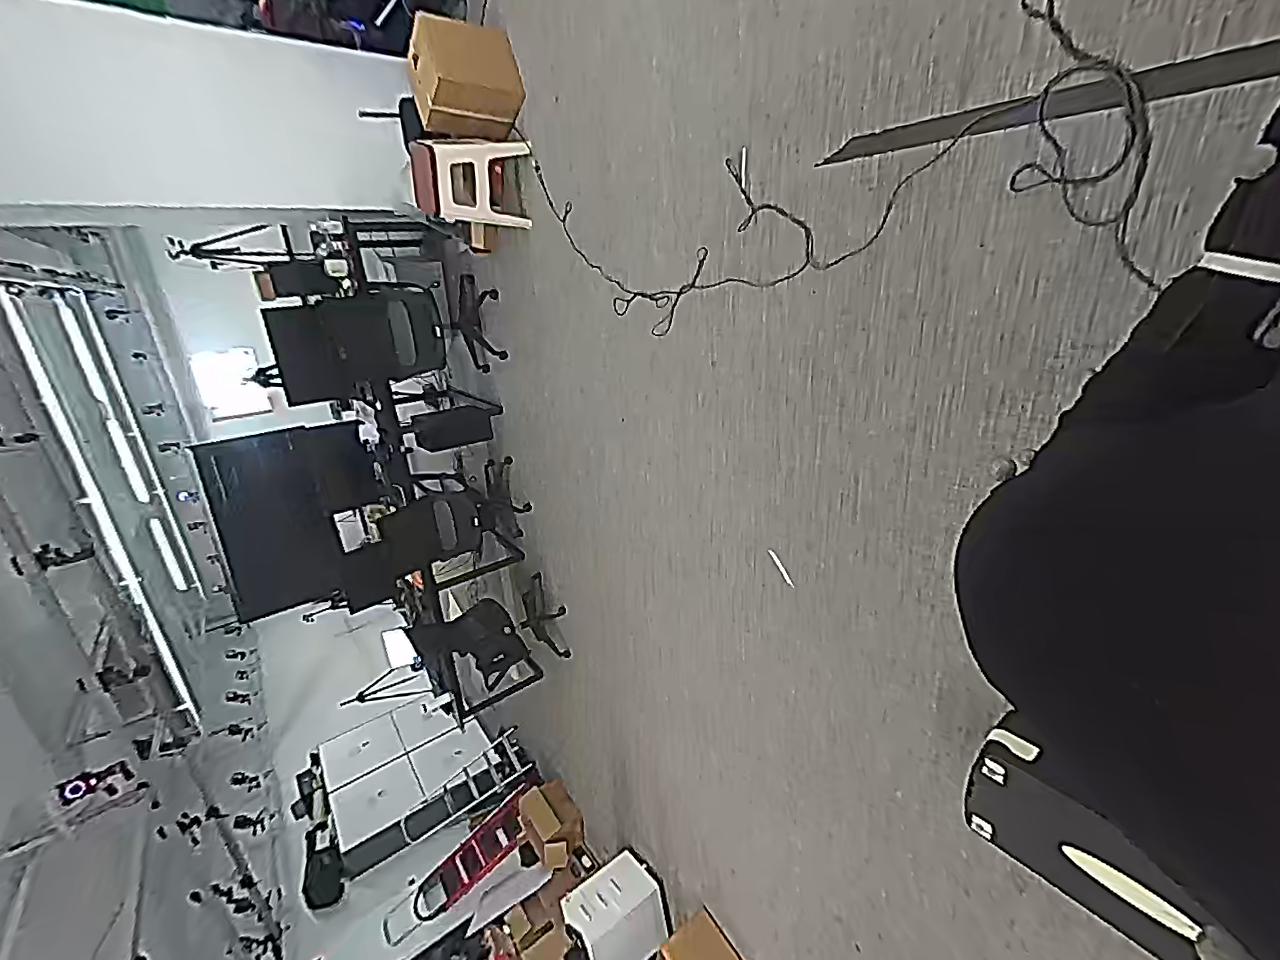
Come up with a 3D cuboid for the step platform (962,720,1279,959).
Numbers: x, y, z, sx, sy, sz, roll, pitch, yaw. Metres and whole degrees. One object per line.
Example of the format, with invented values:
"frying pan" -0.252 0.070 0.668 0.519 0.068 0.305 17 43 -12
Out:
"step platform" 1.105 0.864 1.195 0.684 0.204 0.286 22 123 49
